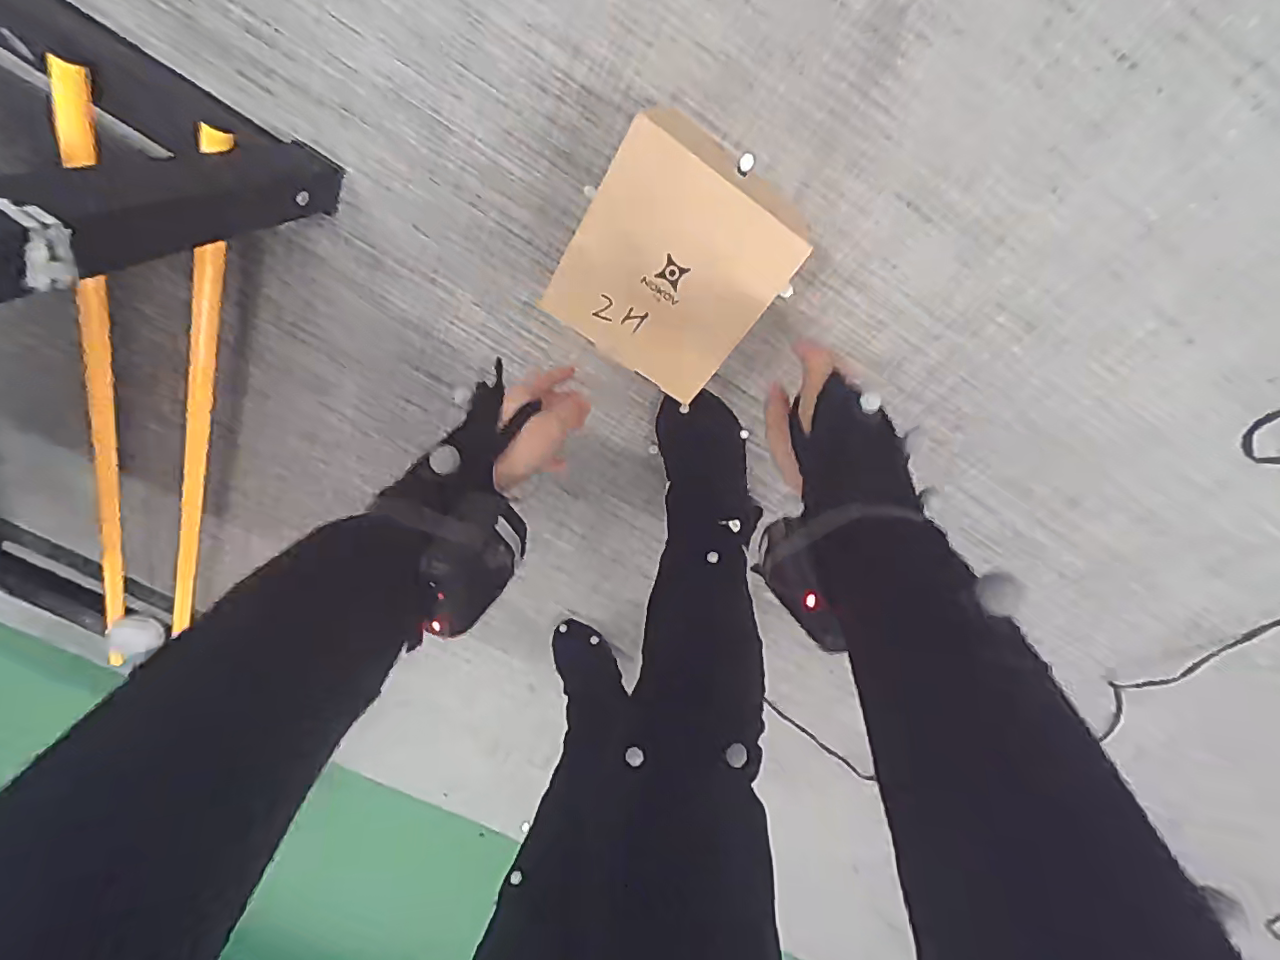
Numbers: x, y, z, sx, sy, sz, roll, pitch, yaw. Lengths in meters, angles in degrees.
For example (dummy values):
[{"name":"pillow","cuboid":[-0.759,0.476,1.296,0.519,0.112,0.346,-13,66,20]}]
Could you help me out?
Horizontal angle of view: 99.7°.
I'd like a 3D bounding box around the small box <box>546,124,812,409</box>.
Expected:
[{"name":"small box","cuboid":[0.038,-0.210,0.523,0.168,0.176,0.179,33,124,-10]}]
